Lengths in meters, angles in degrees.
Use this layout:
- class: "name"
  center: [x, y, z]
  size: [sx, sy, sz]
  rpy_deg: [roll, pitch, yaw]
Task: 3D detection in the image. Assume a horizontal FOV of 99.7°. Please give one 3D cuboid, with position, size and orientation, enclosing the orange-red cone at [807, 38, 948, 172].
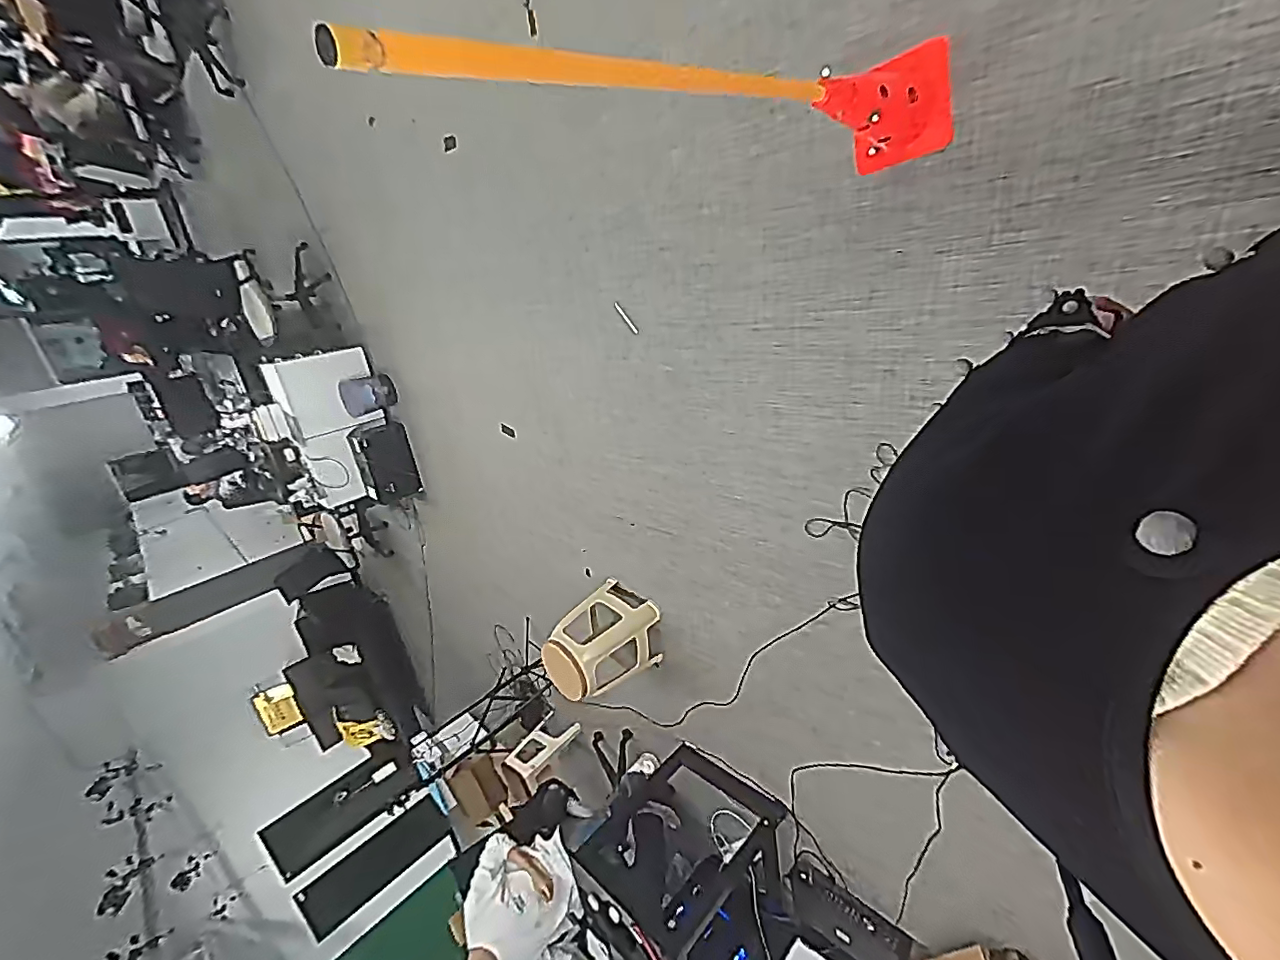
- class: "orange-red cone"
  center: [0.422, -0.720, 1.029]
  size: [0.199, 0.360, 0.198]
  rpy_deg: [6, 115, 45]
